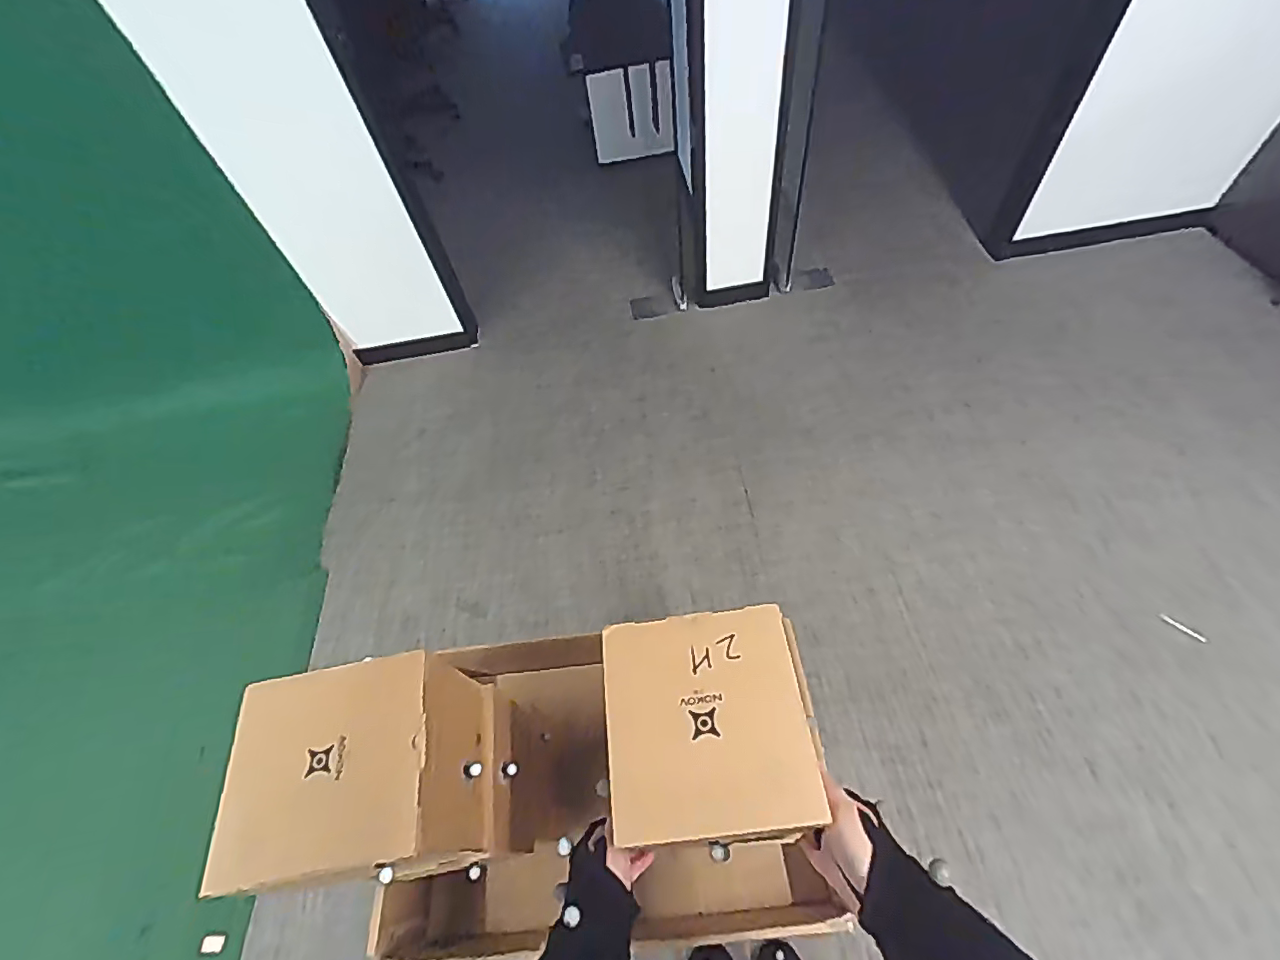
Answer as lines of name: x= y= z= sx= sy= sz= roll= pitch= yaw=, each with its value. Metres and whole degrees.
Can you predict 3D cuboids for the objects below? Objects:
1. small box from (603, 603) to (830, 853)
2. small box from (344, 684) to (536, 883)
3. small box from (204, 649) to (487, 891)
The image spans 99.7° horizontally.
small box: x=0.063 y=0.237 z=0.511 sx=0.168 sy=0.176 sz=0.179 roll=-8 pitch=56 yaw=2
small box: x=-0.231 y=0.373 z=0.670 sx=0.168 sy=0.176 sz=0.179 roll=-11 pitch=56 yaw=0
small box: x=-0.263 y=0.287 z=0.535 sx=0.179 sy=0.176 sz=0.168 roll=-11 pitch=56 yaw=-2
